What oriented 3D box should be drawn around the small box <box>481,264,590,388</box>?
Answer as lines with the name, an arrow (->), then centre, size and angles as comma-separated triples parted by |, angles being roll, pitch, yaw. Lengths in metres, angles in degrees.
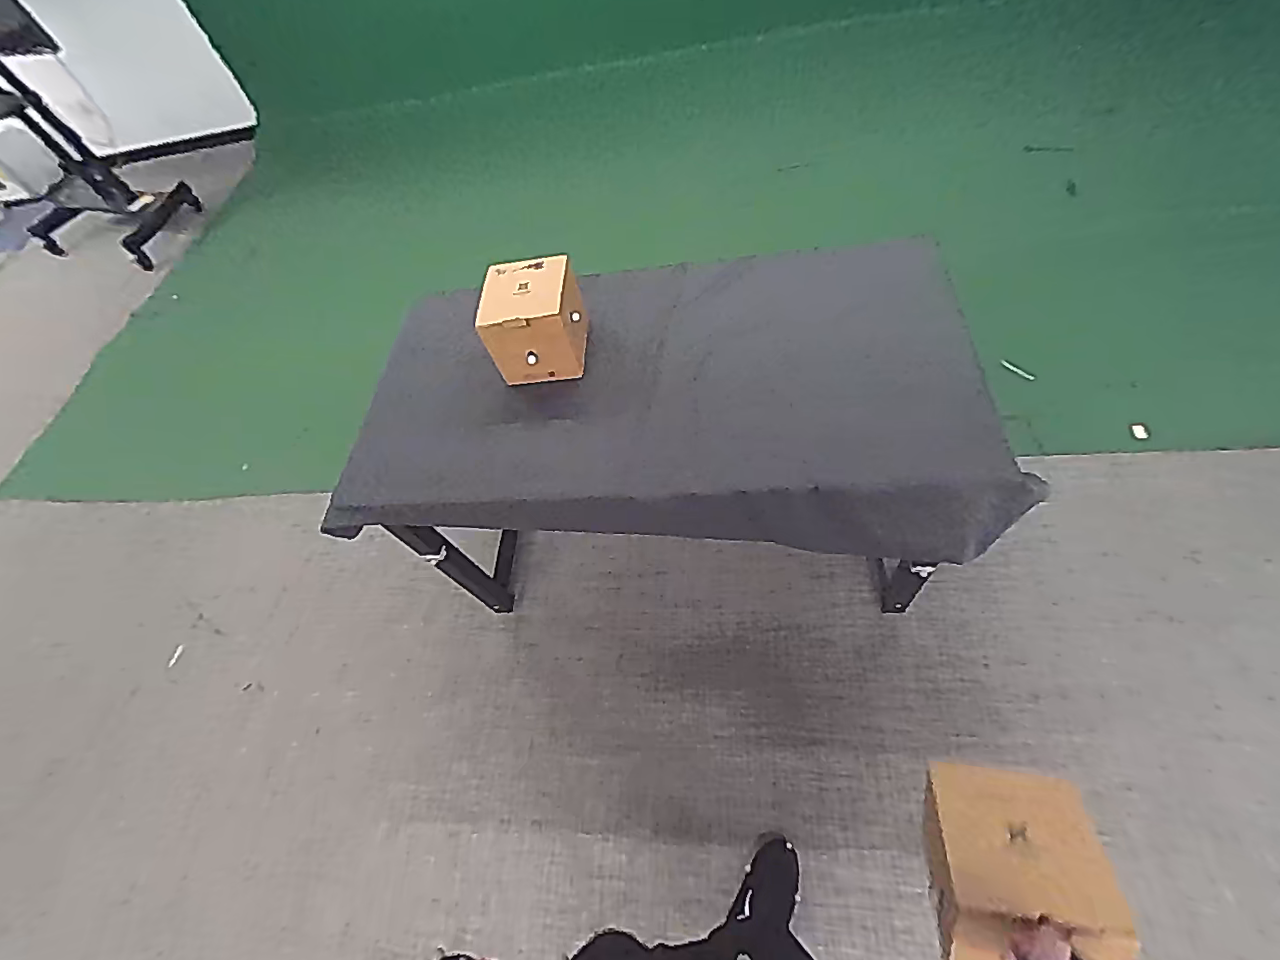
small box -> -0.204, -0.304, 1.108 | 0.168, 0.176, 0.179 | -8, 57, 9
